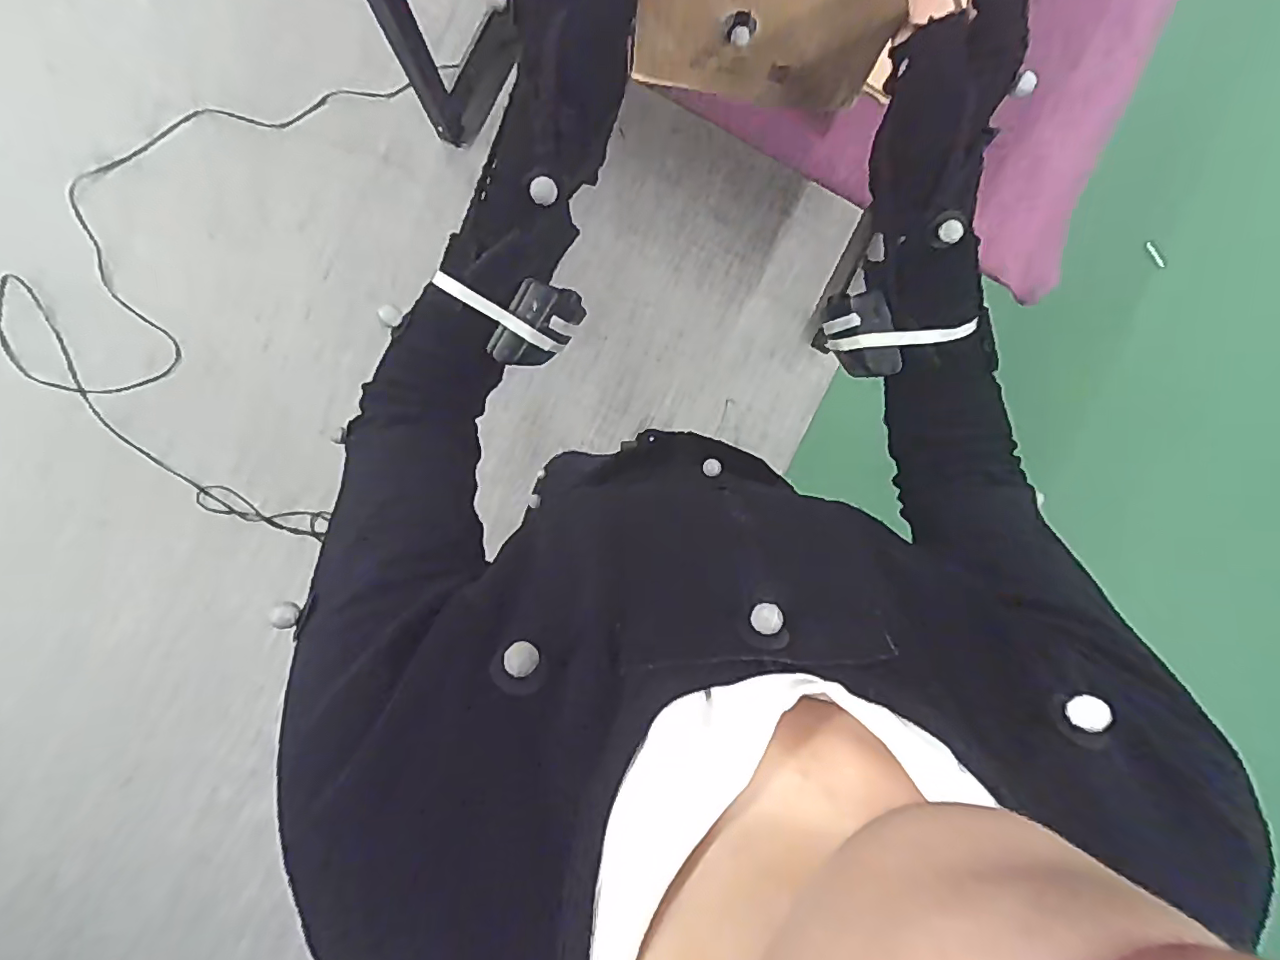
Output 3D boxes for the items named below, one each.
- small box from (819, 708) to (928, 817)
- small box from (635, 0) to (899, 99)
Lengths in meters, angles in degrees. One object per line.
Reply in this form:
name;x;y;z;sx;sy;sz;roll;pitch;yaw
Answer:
small box;0.614;0.743;1.447;0.179;0.176;0.168;29;90;-4
small box;0.087;-0.384;0.327;0.168;0.176;0.179;6;87;-3
